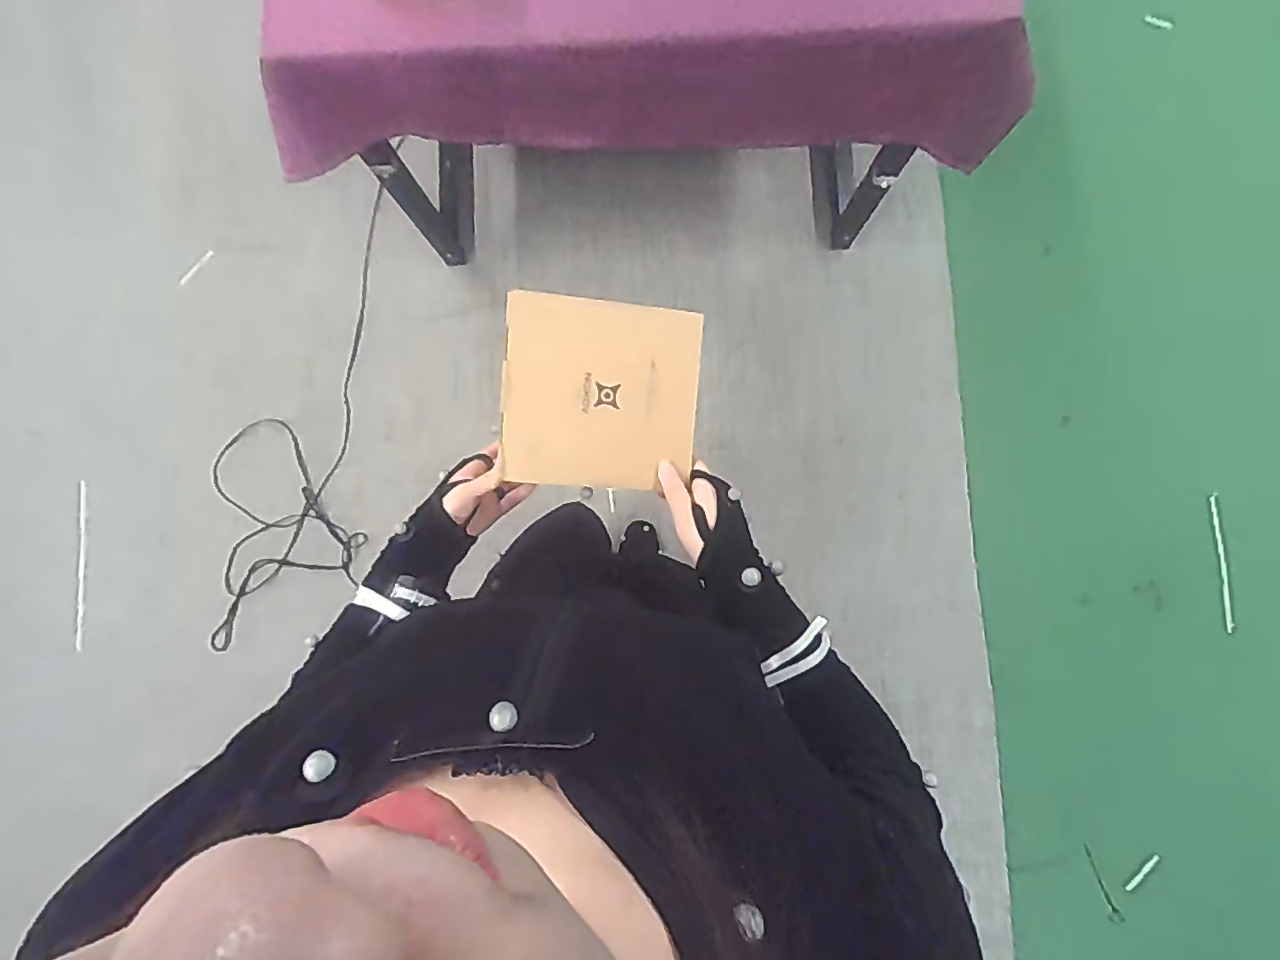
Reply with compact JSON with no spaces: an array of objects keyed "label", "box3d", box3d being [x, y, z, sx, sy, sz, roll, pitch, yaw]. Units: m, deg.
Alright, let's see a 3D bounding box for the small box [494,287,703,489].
[{"label":"small box","box3d":[-0.048,-0.084,0.558,0.179,0.176,0.168,4,94,-11]}]
